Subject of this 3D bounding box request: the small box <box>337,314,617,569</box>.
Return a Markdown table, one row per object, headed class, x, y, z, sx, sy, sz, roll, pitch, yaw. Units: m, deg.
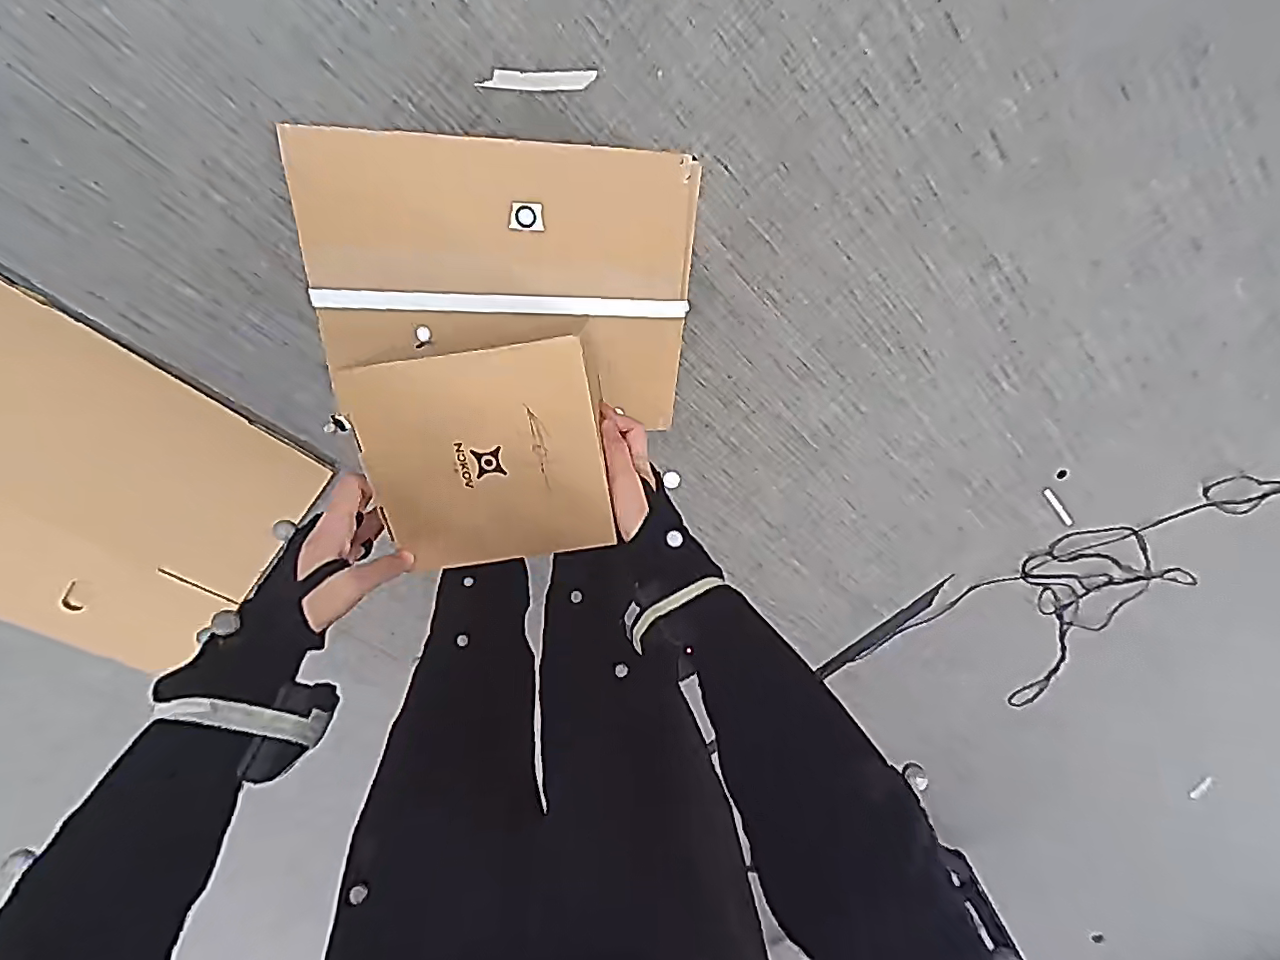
| class | x | y | z | sx | sy | sz | roll | pitch | yaw |
| --- | --- | --- | --- | --- | --- | --- | --- | --- | --- |
| small box | -0.117 | -0.045 | 0.474 | 0.179 | 0.176 | 0.168 | -9 | 112 | 1 |
